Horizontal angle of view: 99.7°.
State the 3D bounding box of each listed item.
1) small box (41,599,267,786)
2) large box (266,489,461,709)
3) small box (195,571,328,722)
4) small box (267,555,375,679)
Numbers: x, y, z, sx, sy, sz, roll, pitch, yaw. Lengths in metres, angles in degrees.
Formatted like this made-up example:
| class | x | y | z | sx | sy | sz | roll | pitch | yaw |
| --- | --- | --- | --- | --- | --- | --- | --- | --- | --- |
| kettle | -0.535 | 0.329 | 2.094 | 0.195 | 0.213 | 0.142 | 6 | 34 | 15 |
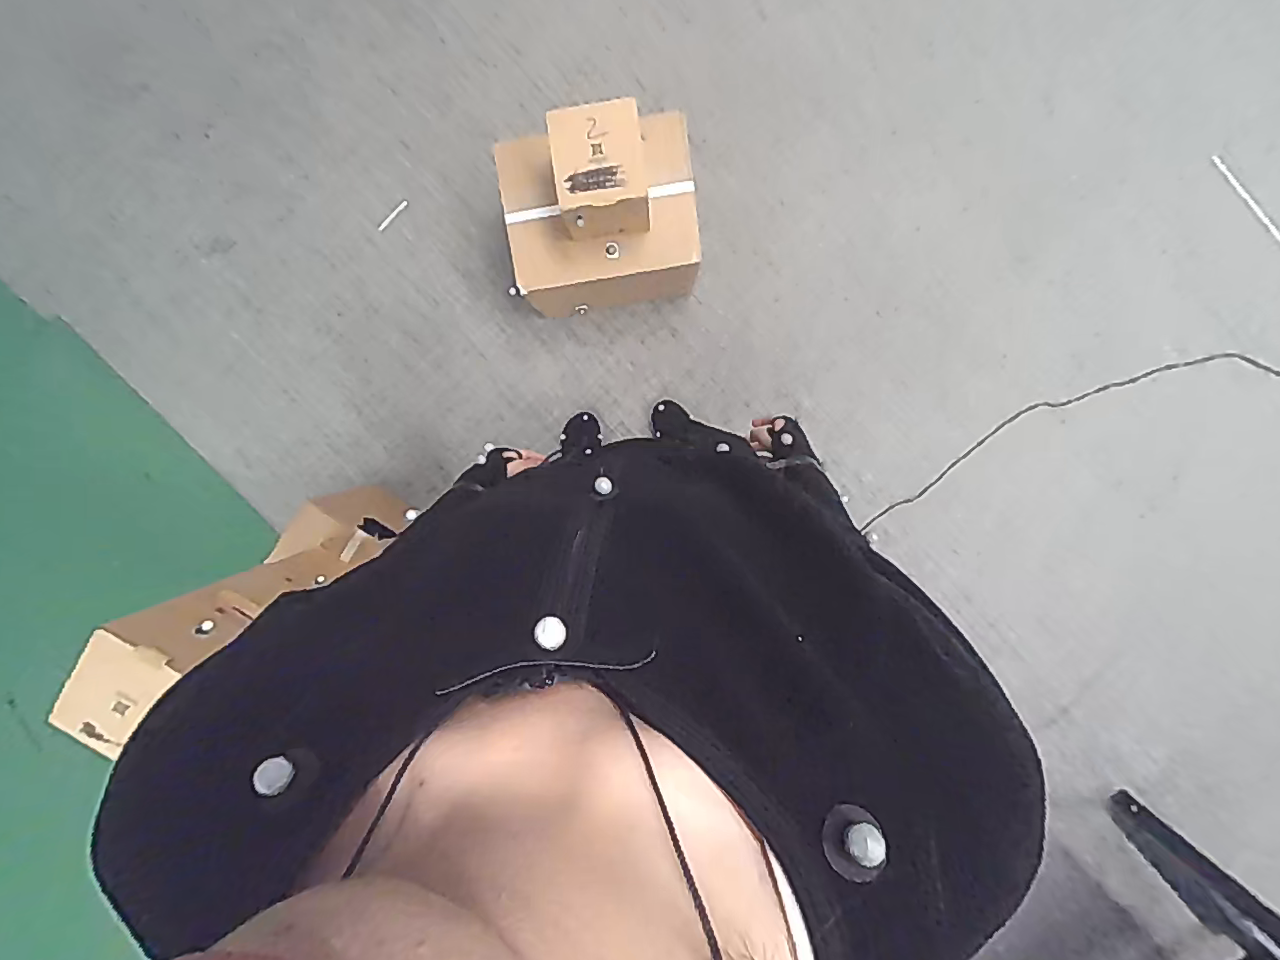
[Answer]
| class | x | y | z | sx | sy | sz | roll | pitch | yaw |
| --- | --- | --- | --- | --- | --- | --- | --- | --- | --- |
| small box | -0.729 | 0.313 | 0.837 | 0.168 | 0.176 | 0.179 | 34 | 95 | -2 |
| large box | -0.741 | 0.284 | 1.410 | 0.320 | 0.320 | 0.408 | 33 | 97 | -1 |
| small box | -0.720 | 0.295 | 1.001 | 0.168 | 0.176 | 0.179 | 33 | 96 | -2 |
| small box | -0.715 | 0.282 | 1.164 | 0.179 | 0.176 | 0.168 | 34 | 96 | -2 |
